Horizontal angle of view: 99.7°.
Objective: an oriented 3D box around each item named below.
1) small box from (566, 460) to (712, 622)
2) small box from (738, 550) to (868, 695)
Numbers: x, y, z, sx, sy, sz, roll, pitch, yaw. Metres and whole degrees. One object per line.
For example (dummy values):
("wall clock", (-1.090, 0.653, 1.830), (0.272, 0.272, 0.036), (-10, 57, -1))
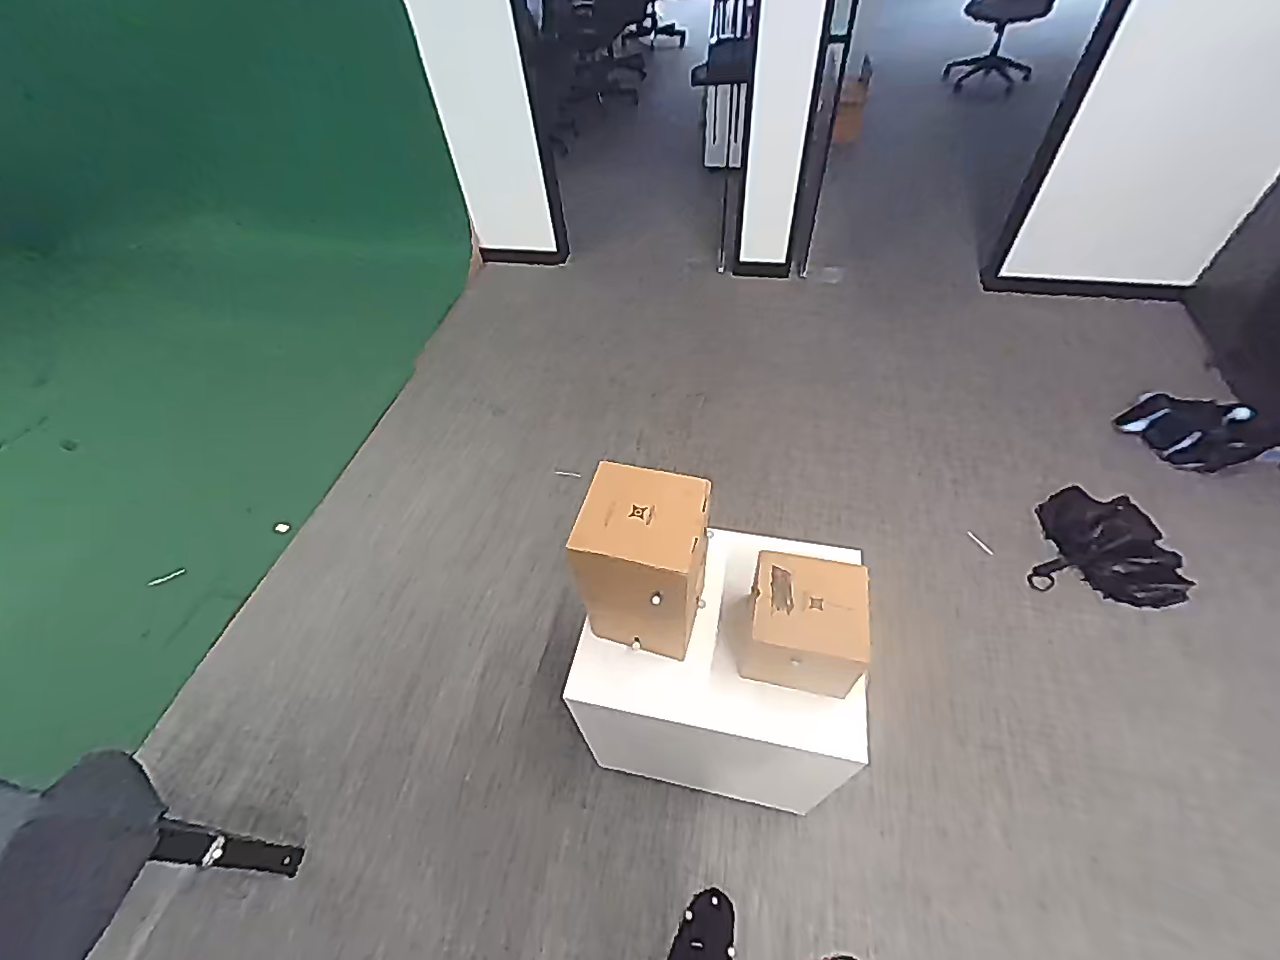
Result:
("small box", (0.004, 0.096, 0.819), (0.179, 0.176, 0.168), (10, 50, 10))
("small box", (0.265, 0.242, 0.906), (0.179, 0.176, 0.168), (9, 51, 8))
